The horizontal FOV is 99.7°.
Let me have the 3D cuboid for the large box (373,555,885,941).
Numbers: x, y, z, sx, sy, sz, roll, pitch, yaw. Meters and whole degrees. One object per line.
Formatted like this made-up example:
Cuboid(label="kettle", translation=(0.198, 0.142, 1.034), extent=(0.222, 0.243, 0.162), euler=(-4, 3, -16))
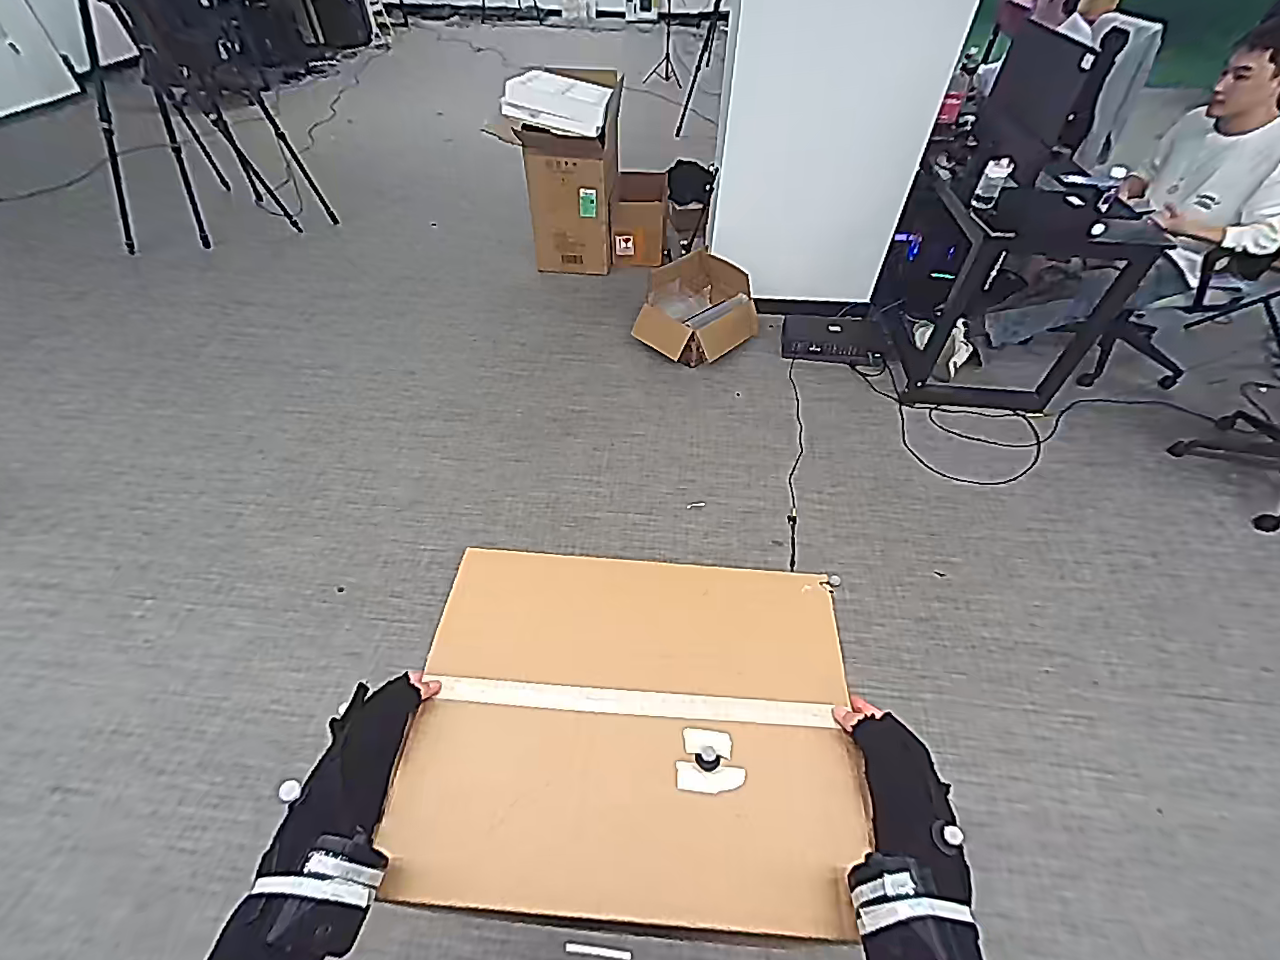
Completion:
Cuboid(label="large box", translation=(-0.008, 0.311, 0.620), extent=(0.408, 0.320, 0.320), euler=(5, 49, 1))
